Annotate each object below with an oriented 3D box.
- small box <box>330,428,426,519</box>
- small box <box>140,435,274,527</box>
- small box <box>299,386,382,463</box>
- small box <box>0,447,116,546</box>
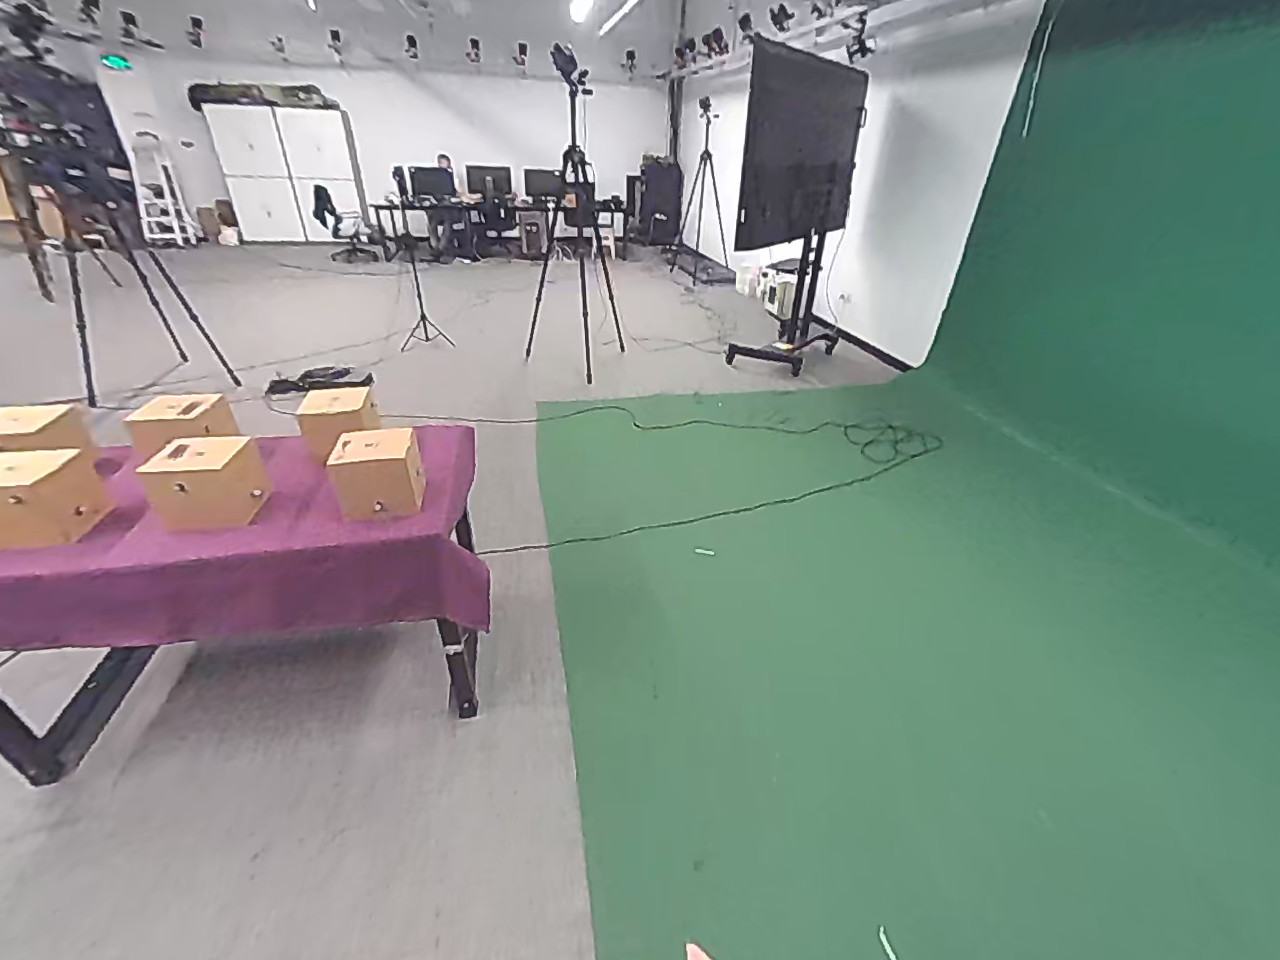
[{"bbox_3d":[-0.653,-0.018,1.372,0.179,0.176,0.168,-5,32,-12],"label":"small box"},{"bbox_3d":[-1.039,0.002,1.317,0.179,0.176,0.168,-2,32,-9],"label":"small box"},{"bbox_3d":[-0.872,-0.165,1.595,0.168,0.176,0.179,-6,33,-13],"label":"small box"},{"bbox_3d":[-1.382,0.038,1.239,0.179,0.176,0.168,-3,32,-10],"label":"small box"}]
